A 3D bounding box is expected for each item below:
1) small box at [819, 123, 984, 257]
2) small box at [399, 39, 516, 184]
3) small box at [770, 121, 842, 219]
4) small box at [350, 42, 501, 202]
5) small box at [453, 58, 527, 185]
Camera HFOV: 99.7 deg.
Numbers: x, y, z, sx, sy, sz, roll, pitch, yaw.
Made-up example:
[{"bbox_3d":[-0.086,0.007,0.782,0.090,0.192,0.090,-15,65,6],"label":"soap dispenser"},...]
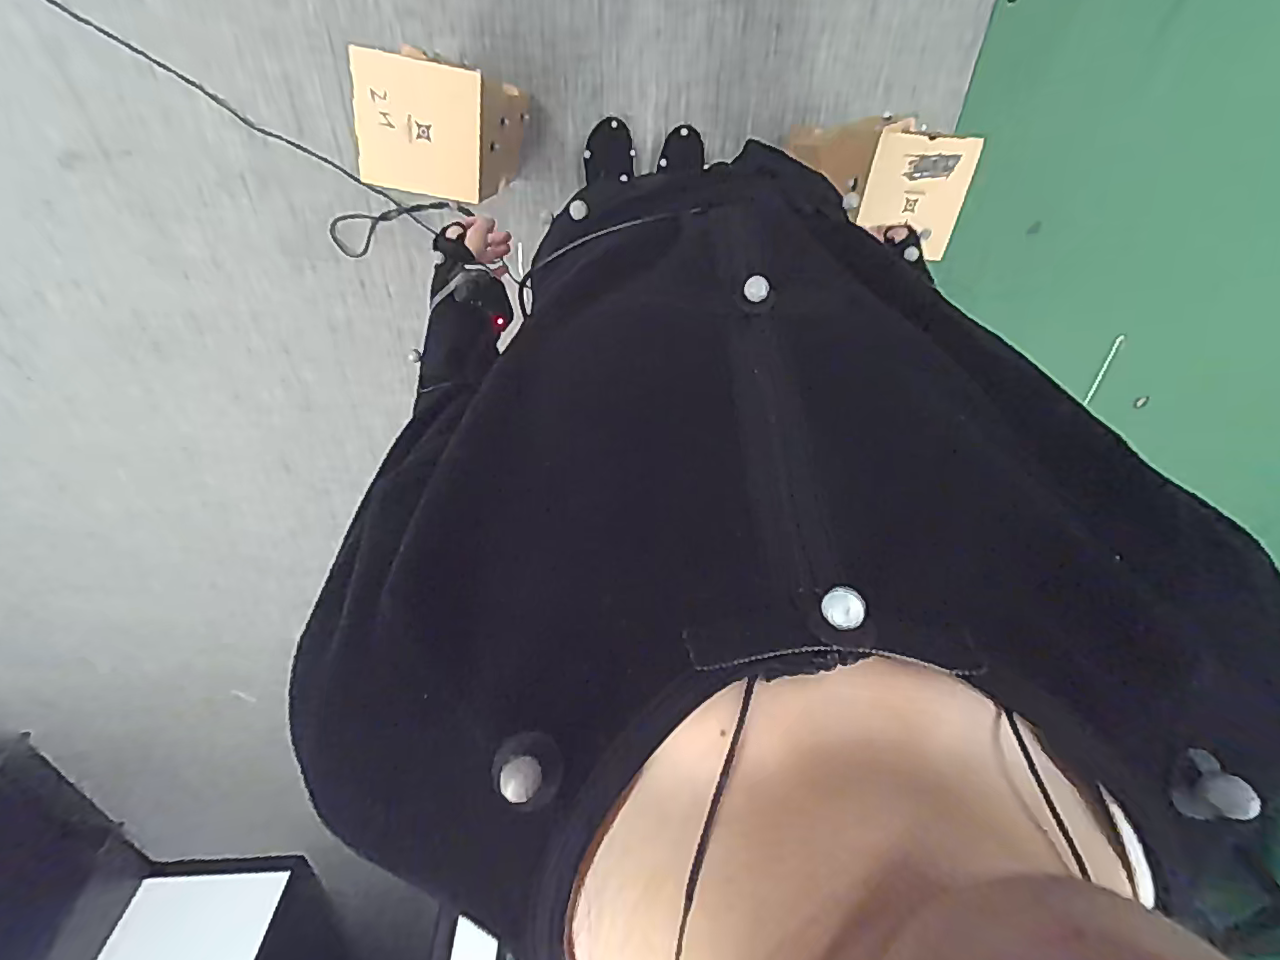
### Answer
[{"bbox_3d":[0.421,-0.490,0.908,0.168,0.176,0.179,2,125,-5],"label":"small box"},{"bbox_3d":[-0.332,-0.638,0.967,0.168,0.176,0.179,19,120,-14],"label":"small box"},{"bbox_3d":[0.405,-0.668,1.184,0.179,0.176,0.168,9,123,-9],"label":"small box"},{"bbox_3d":[-0.316,-0.544,0.832,0.179,0.176,0.168,8,122,-7],"label":"small box"},{"bbox_3d":[-0.331,-0.730,1.100,0.168,0.176,0.179,14,123,-12],"label":"small box"}]
